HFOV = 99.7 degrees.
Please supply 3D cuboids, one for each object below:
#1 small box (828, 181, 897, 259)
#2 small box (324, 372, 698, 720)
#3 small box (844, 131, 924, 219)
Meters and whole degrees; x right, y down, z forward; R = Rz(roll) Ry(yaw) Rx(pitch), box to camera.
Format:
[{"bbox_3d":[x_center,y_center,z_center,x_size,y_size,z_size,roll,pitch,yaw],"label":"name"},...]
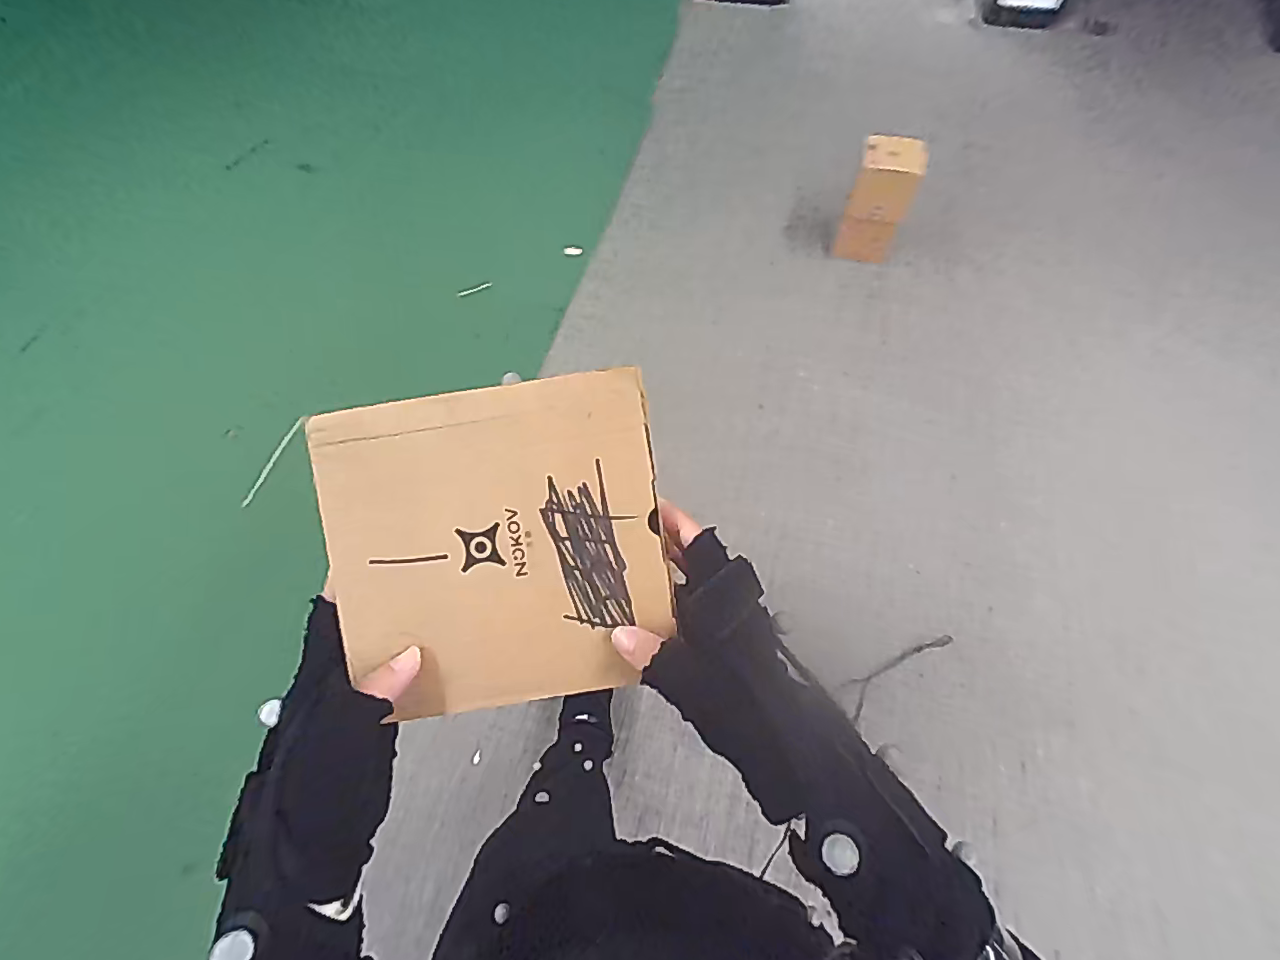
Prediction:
[{"bbox_3d":[0.756,-0.878,1.833,0.179,0.176,0.168,12,64,9],"label":"small box"},{"bbox_3d":[-0.070,0.031,0.369,0.179,0.176,0.168,-11,93,-1],"label":"small box"},{"bbox_3d":[0.756,-0.945,1.684,0.179,0.176,0.168,13,65,8],"label":"small box"}]
